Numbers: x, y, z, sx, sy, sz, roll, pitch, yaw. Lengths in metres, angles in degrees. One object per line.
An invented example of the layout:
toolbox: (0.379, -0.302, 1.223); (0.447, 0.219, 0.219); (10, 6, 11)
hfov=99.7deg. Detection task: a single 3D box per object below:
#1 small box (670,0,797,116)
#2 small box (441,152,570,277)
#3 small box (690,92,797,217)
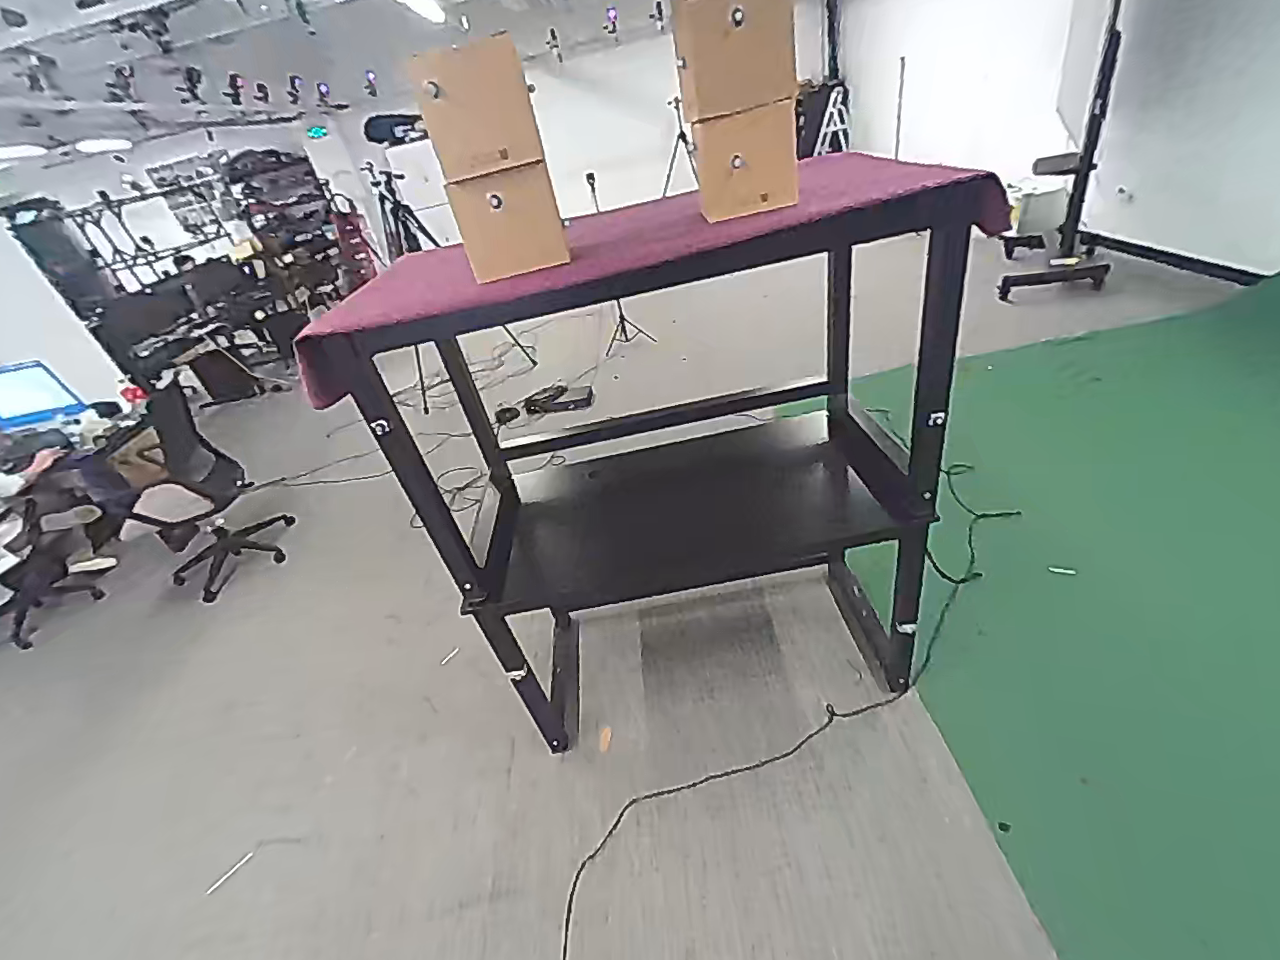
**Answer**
small box: (0.158, -0.738, 0.926); (0.179, 0.176, 0.168); (-12, 34, 4)
small box: (-0.237, -0.489, 0.998); (0.179, 0.176, 0.168); (-14, 34, 0)
small box: (0.194, -0.610, 1.022); (0.168, 0.176, 0.179); (-10, 33, 7)
